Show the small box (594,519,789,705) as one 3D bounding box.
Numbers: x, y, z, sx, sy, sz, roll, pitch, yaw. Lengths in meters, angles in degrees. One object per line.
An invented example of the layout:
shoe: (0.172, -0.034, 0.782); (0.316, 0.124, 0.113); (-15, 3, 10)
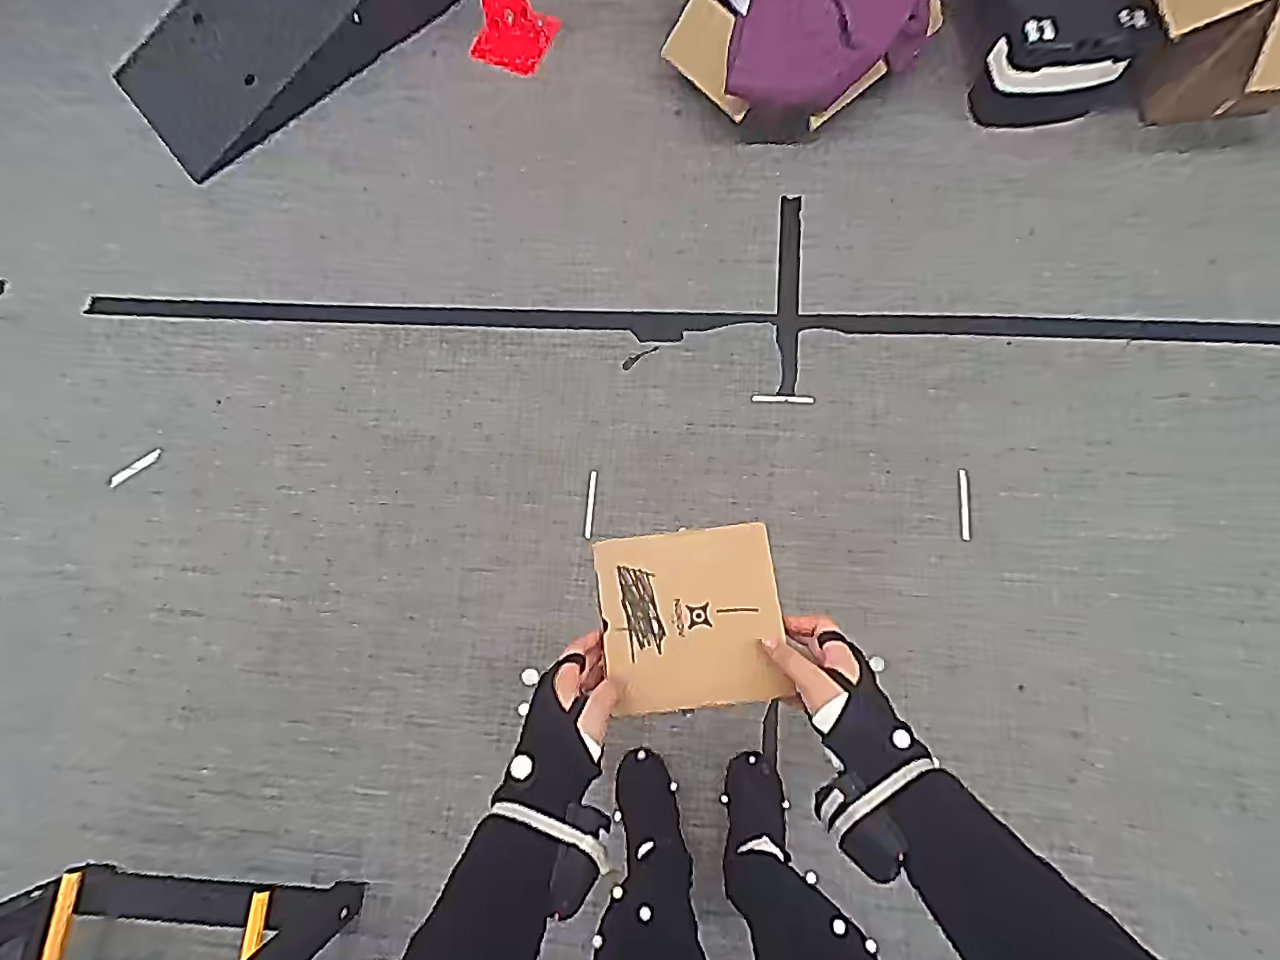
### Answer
small box: (0.051, 0.148, 0.604); (0.179, 0.176, 0.168); (-7, 75, 0)
